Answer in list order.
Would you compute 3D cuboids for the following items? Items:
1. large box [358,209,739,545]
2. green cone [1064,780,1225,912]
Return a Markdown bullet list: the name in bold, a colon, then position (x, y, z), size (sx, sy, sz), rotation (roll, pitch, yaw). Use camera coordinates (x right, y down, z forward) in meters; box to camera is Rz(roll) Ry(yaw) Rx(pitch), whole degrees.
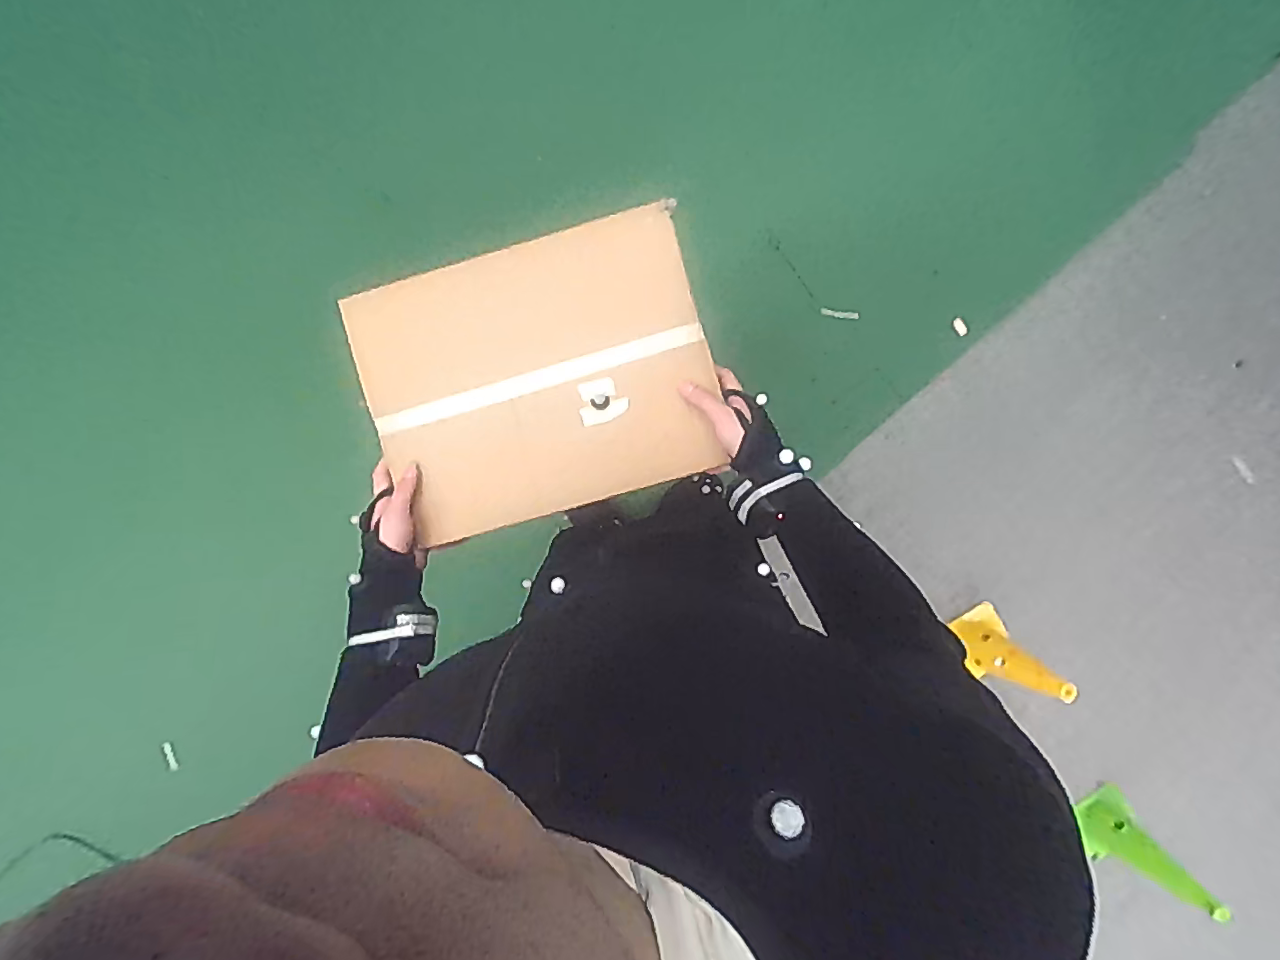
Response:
- **large box**: position (-0.108, -0.126, 0.795), size (0.408, 0.320, 0.320), rotation (-15, 94, 2)
- **green cone**: position (1.519, 1.113, 1.597), size (0.200, 0.368, 0.202), rotation (-36, 93, -1)
